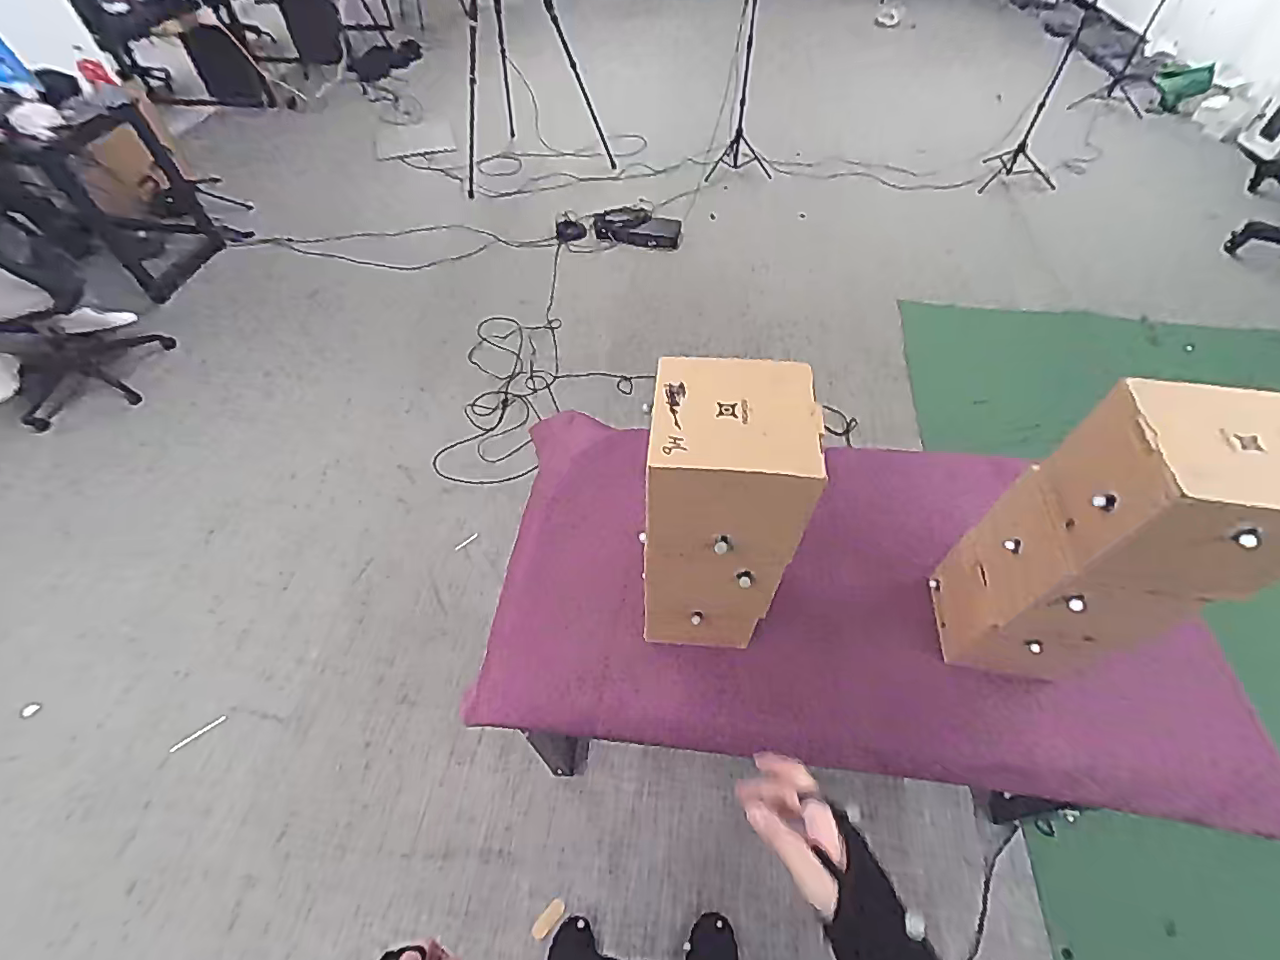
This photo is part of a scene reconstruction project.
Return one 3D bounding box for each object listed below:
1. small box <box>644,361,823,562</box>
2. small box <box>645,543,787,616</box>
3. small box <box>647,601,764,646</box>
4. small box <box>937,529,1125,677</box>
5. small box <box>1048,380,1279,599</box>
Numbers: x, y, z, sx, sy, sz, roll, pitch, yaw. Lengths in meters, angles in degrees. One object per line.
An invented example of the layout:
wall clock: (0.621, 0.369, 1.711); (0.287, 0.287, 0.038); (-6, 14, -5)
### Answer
small box: (0.099, -0.017, 0.636); (0.179, 0.176, 0.168); (4, 52, 4)
small box: (0.102, 0.080, 0.768); (0.179, 0.176, 0.168); (4, 52, 5)
small box: (0.105, 0.169, 0.908); (0.179, 0.176, 0.168); (3, 53, 5)
small box: (0.601, 0.201, 0.866); (0.179, 0.176, 0.168); (7, 53, 7)
small box: (0.592, 0.015, 0.596); (0.179, 0.176, 0.168); (9, 54, 8)
